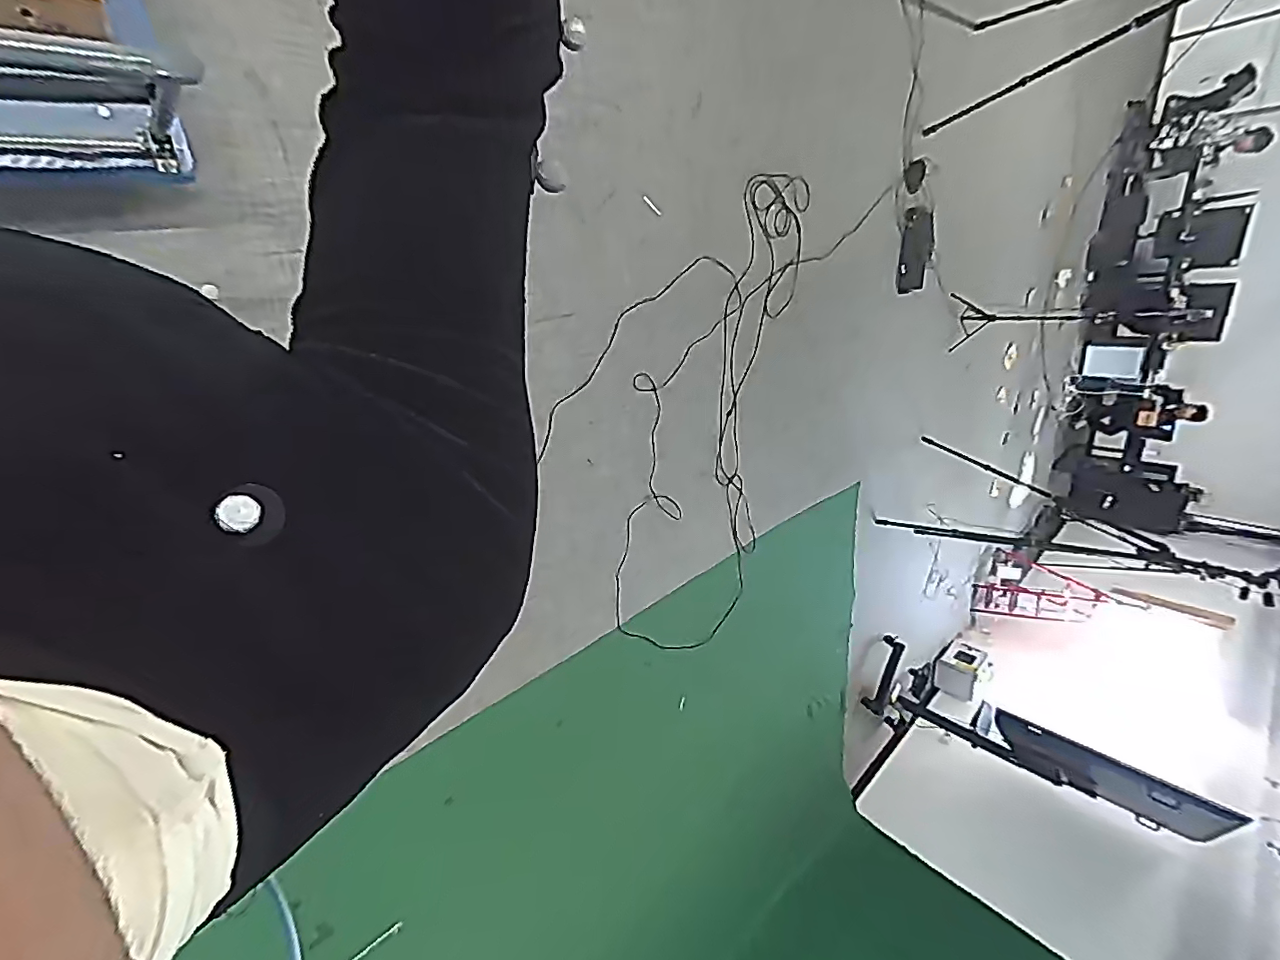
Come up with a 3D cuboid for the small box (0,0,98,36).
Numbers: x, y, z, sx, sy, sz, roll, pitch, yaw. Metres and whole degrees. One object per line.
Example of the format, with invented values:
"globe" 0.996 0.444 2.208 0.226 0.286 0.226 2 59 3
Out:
"small box" -0.957 -0.812 0.807 0.168 0.176 0.179 -23 118 -36
